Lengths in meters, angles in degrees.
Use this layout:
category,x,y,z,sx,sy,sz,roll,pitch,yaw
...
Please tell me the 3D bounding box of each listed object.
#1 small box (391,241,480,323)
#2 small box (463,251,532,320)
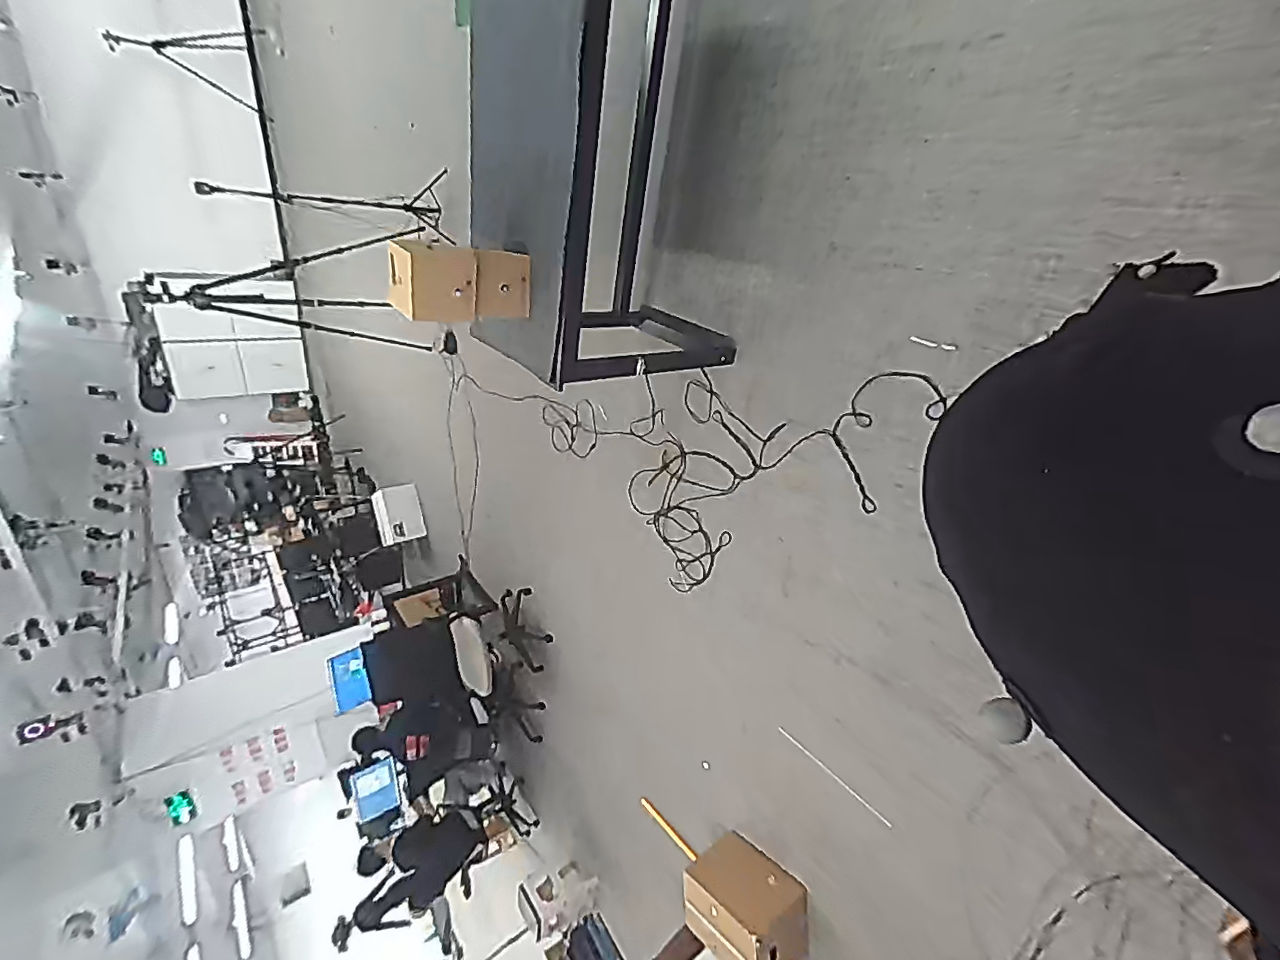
category,x,y,z,sx,sy,sz,roll,pitch,yaw
small box,-0.535,-0.514,1.411,0.179,0.176,0.168,38,128,39
small box,-0.417,-0.549,1.521,0.179,0.176,0.168,31,123,44
